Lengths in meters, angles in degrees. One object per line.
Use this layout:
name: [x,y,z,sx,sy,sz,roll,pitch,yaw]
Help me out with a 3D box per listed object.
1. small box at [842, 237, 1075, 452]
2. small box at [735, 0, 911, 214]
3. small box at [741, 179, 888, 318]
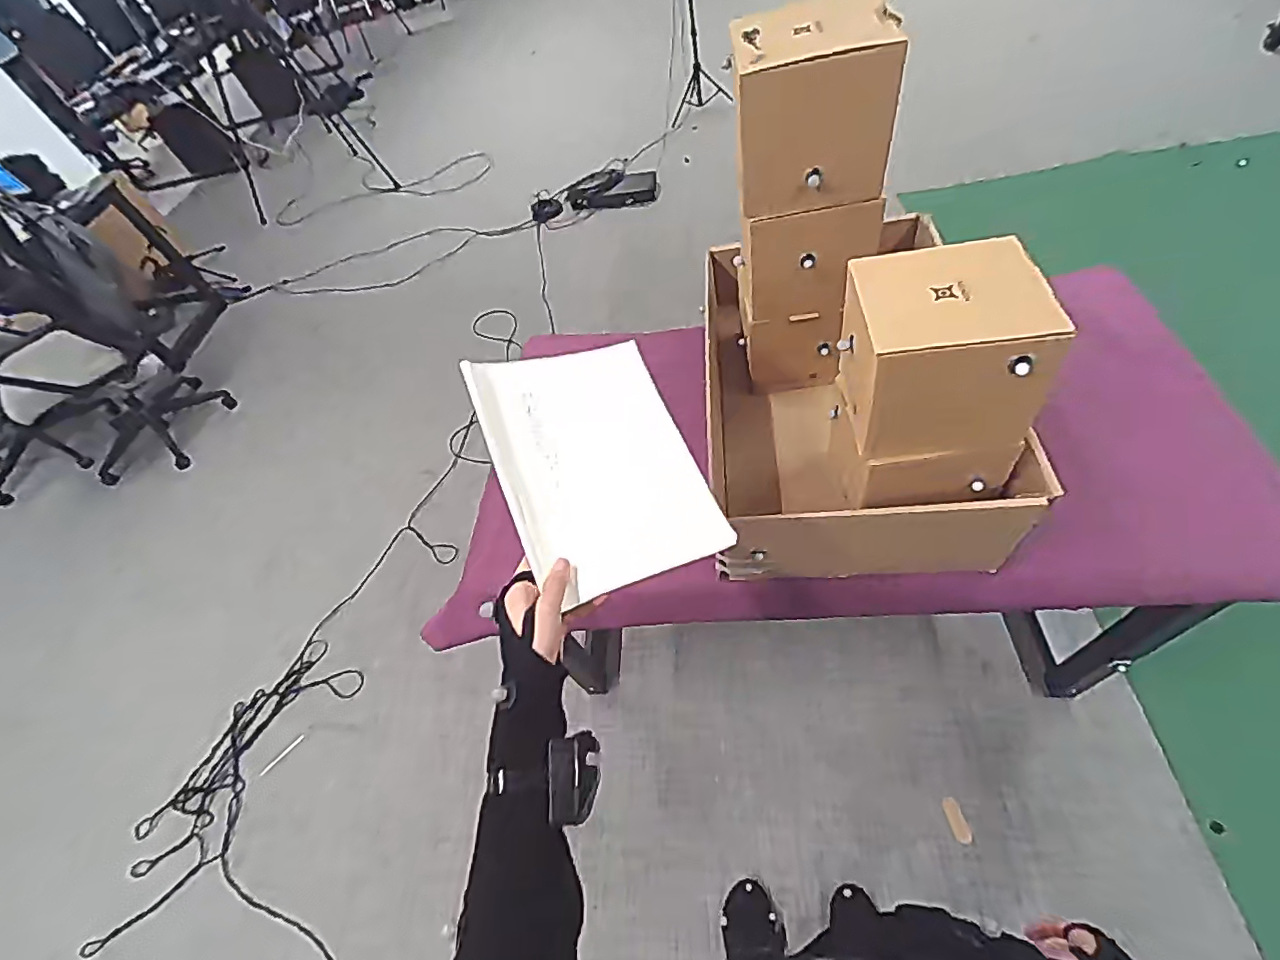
small box: [0.335,-0.145,0.618,0.179,0.176,0.168,-4,52,11]
small box: [0.212,-0.463,0.679,0.179,0.176,0.168,-4,54,9]
small box: [0.245,-0.368,0.808,0.179,0.176,0.168,-6,54,9]
